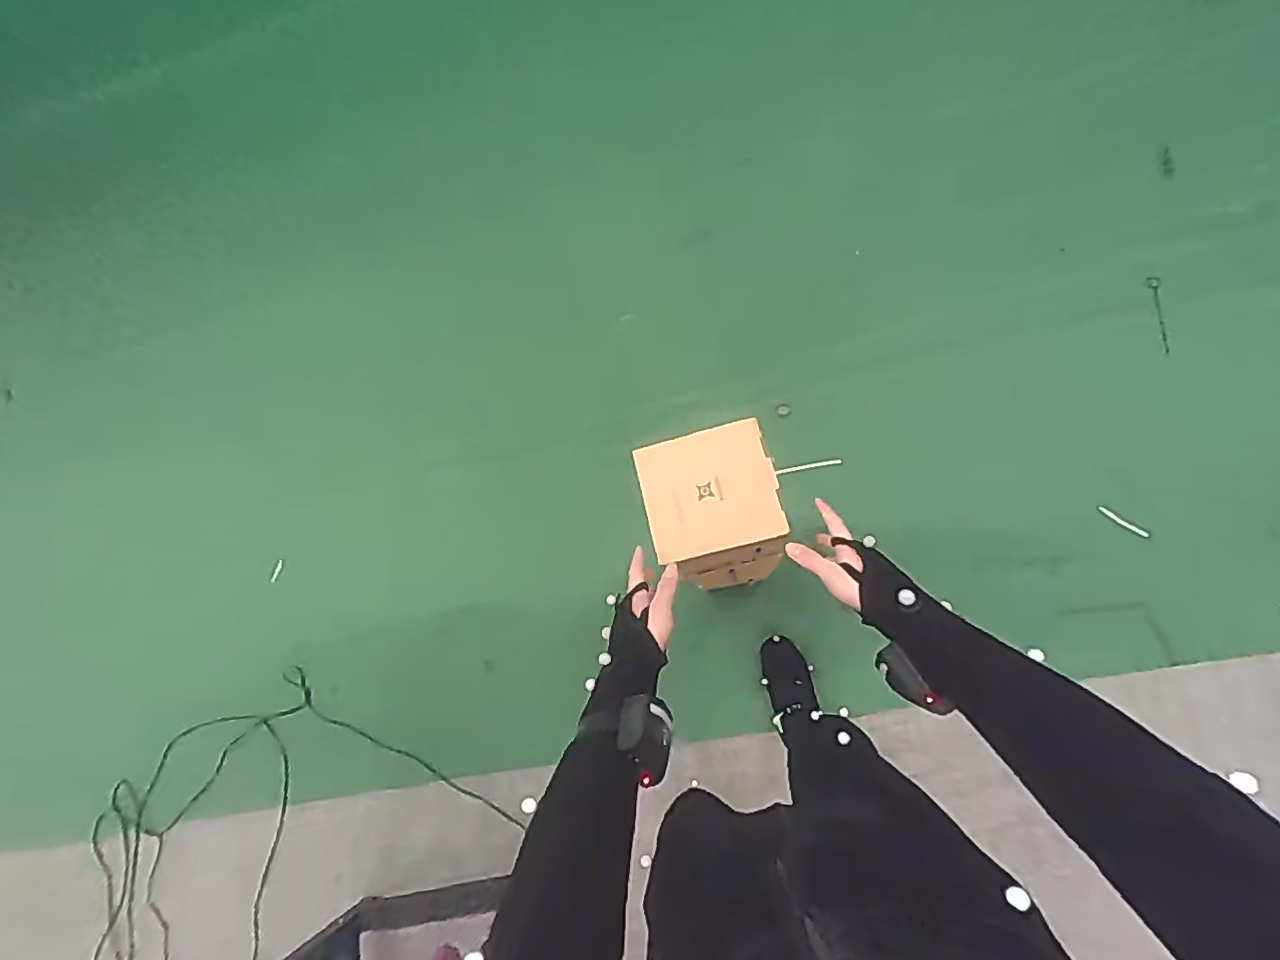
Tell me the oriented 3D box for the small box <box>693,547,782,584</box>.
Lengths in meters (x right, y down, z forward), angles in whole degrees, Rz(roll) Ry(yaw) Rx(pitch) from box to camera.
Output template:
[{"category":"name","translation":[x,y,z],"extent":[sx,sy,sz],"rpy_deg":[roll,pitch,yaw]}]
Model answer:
[{"category":"small box","translation":[0.176,0.110,1.097],"extent":[0.179,0.176,0.168],"rpy_deg":[-17,74,6]}]

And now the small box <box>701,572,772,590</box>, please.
[{"category":"small box","translation":[0.236,0.190,1.408],"extent":[0.179,0.176,0.168],"rpy_deg":[-13,74,8]}]

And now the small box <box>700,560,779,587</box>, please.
[{"category":"small box","translation":[0.211,0.149,1.253],"extent":[0.179,0.176,0.168],"rpy_deg":[-16,74,8]}]

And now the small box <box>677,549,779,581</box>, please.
[{"category":"small box","translation":[0.138,0.074,0.943],"extent":[0.168,0.176,0.179],"rpy_deg":[-15,75,8]}]

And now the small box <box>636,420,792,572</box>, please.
[{"category":"small box","translation":[0.108,0.033,0.787],"extent":[0.179,0.176,0.168],"rpy_deg":[-15,73,9]}]
